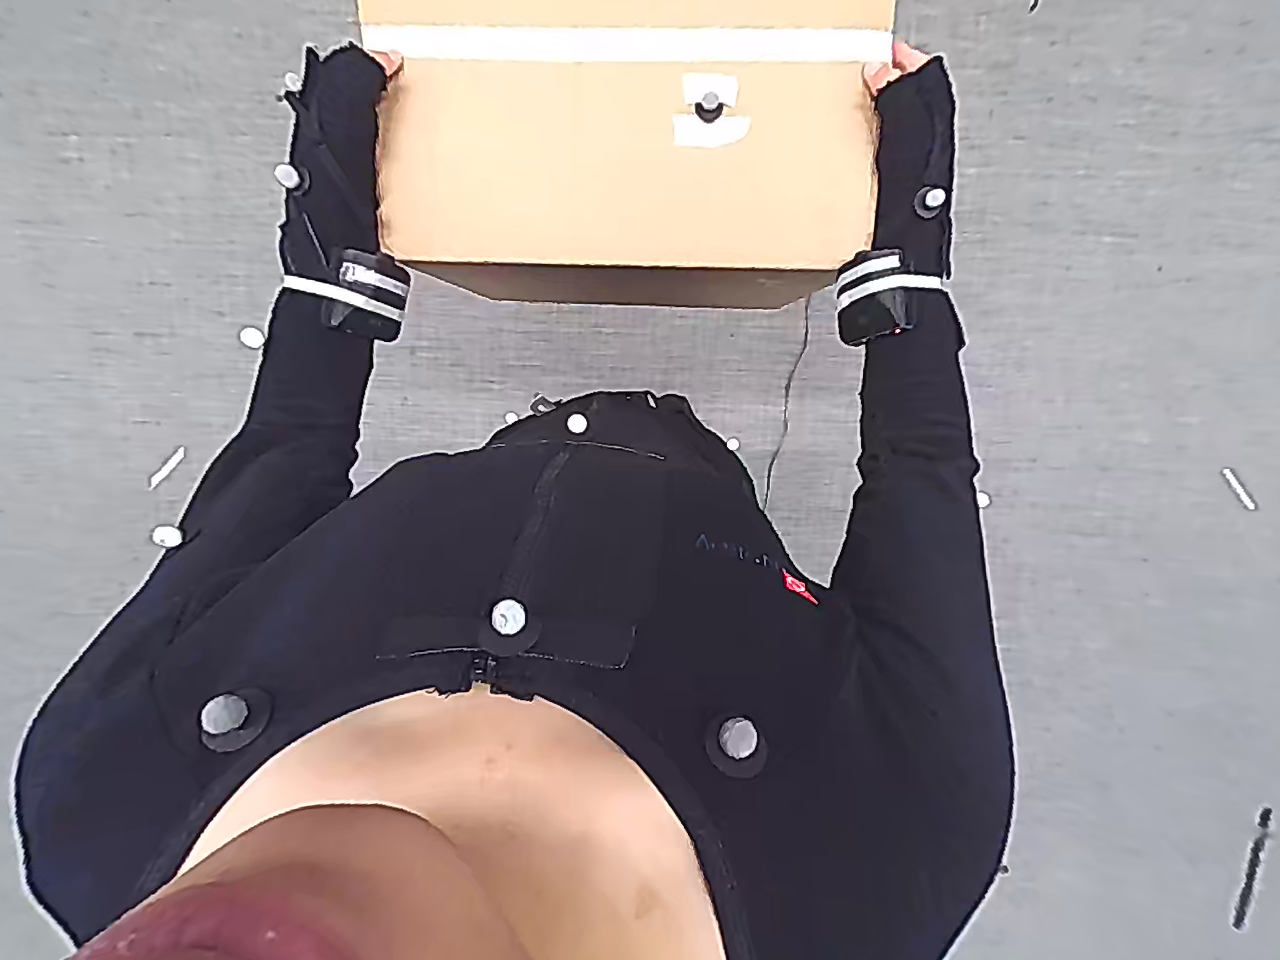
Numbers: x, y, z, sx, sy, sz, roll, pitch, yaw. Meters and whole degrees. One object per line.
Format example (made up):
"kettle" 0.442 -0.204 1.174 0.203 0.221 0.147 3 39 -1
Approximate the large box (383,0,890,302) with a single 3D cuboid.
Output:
"large box" -0.004 -0.370 0.574 0.408 0.320 0.320 2 102 1
